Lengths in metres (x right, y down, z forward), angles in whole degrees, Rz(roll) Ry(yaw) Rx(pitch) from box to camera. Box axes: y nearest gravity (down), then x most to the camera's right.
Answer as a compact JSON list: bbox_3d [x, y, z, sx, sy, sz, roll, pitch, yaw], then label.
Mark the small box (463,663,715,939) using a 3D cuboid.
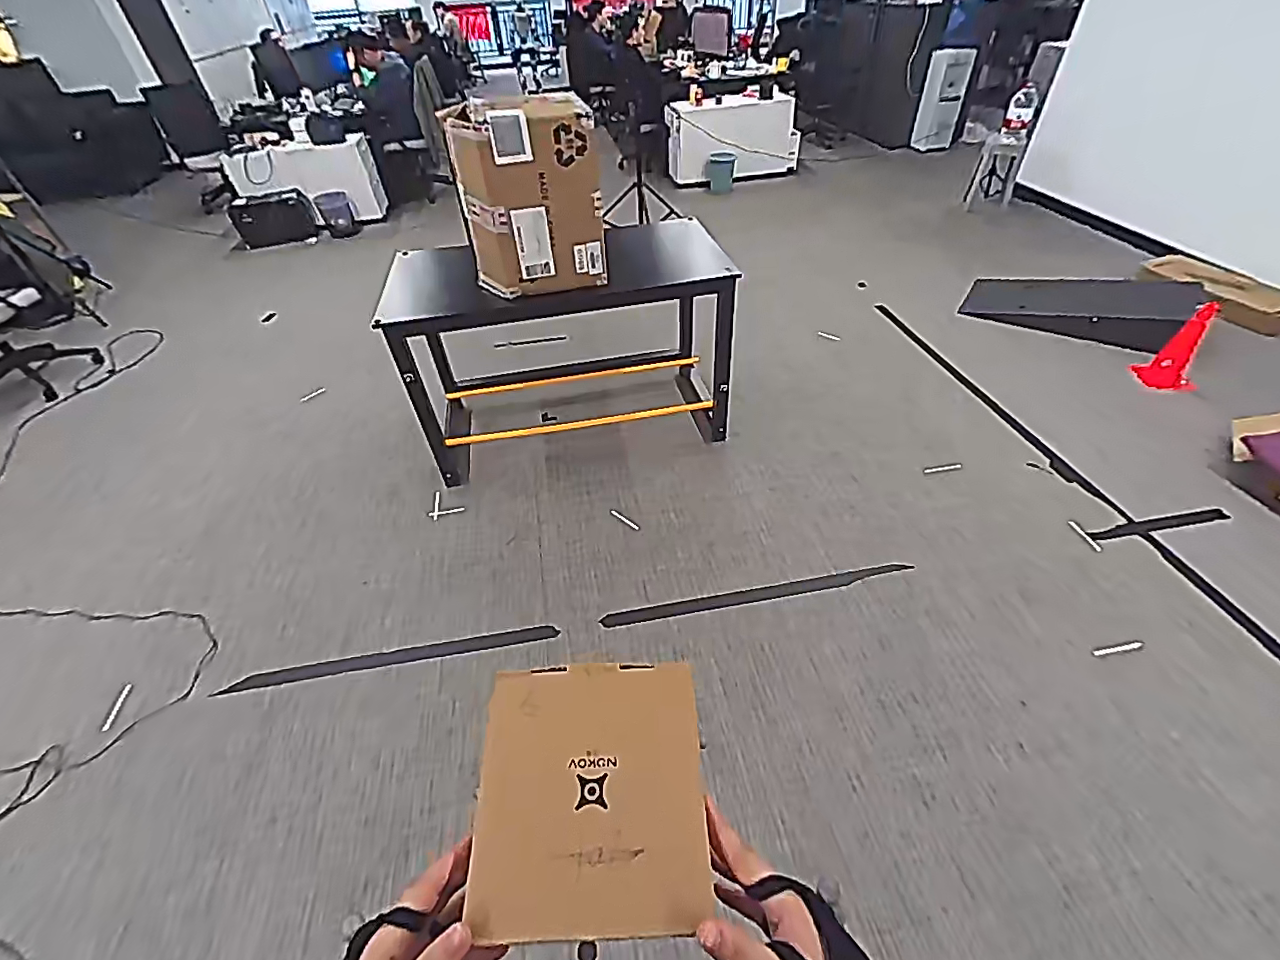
[{"bbox_3d":[-0.034,0.272,0.459,0.168,0.176,0.179,-2,51,0],"label":"small box"}]
